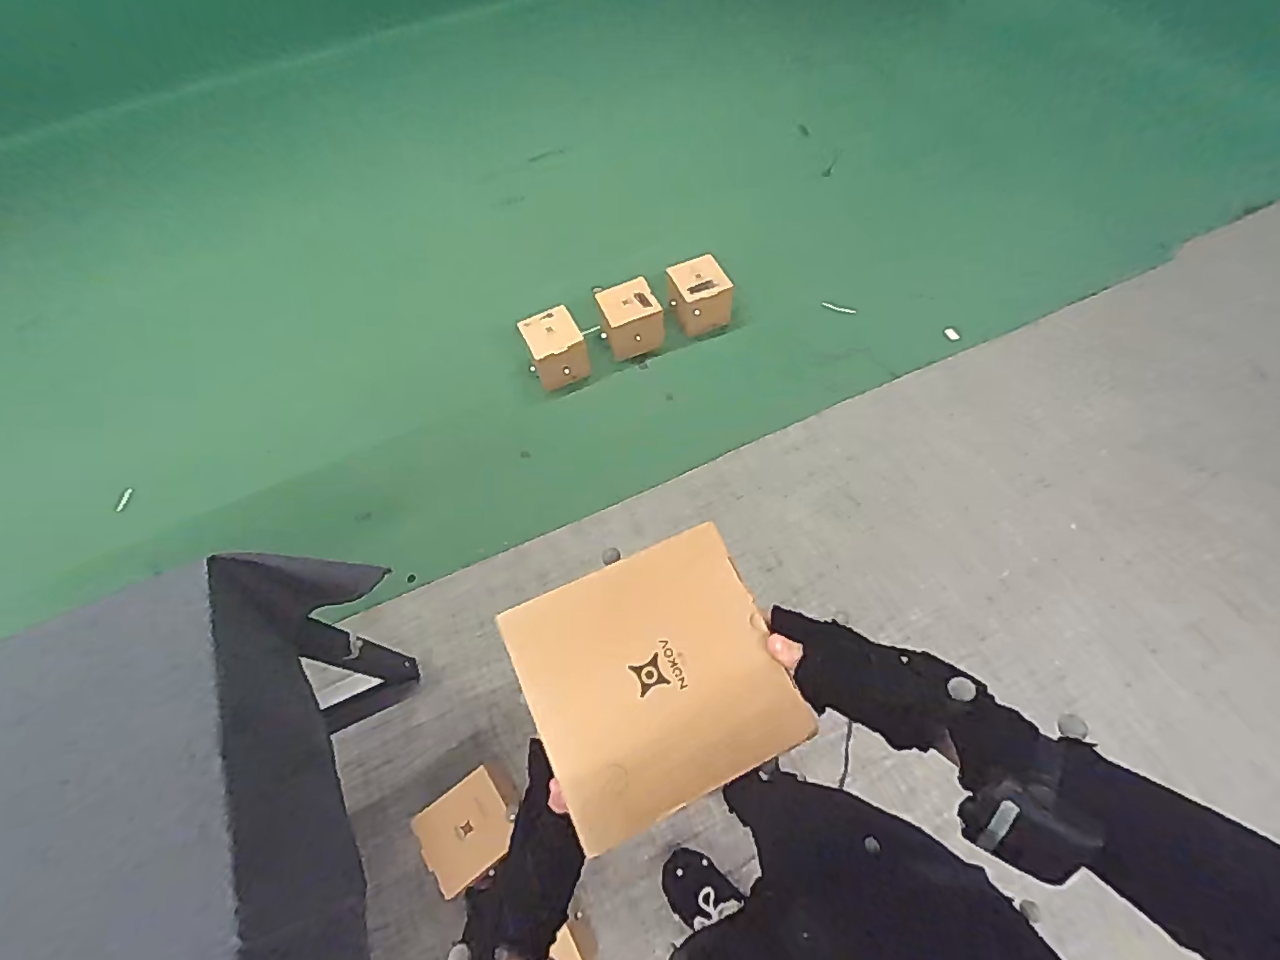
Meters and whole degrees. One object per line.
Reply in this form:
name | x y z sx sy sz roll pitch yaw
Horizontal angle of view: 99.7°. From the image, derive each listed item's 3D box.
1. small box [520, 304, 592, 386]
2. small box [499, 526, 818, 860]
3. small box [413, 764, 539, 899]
small box | -0.267 -0.429 1.754 0.168 0.176 0.179 -25 65 -8
small box | 0.006 0.161 0.445 0.179 0.176 0.168 -22 75 -12
small box | -0.342 0.737 1.155 0.179 0.176 0.168 -35 66 -13
